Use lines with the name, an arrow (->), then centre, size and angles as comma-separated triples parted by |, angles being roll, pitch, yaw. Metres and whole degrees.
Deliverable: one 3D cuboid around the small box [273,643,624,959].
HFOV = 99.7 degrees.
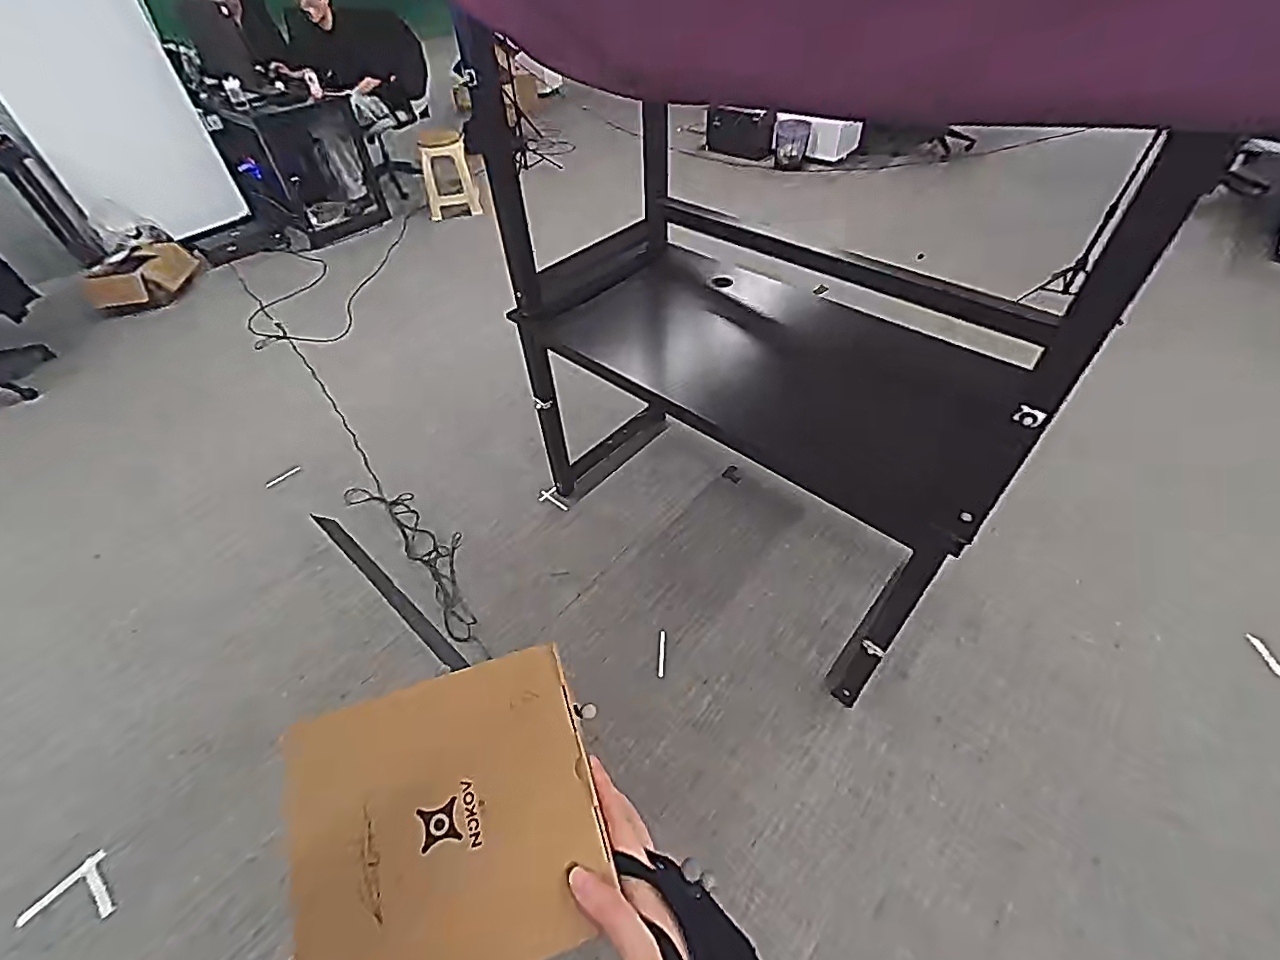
small box -> -0.120, 0.232, 0.382 | 0.179, 0.176, 0.168 | -15, 65, -11
